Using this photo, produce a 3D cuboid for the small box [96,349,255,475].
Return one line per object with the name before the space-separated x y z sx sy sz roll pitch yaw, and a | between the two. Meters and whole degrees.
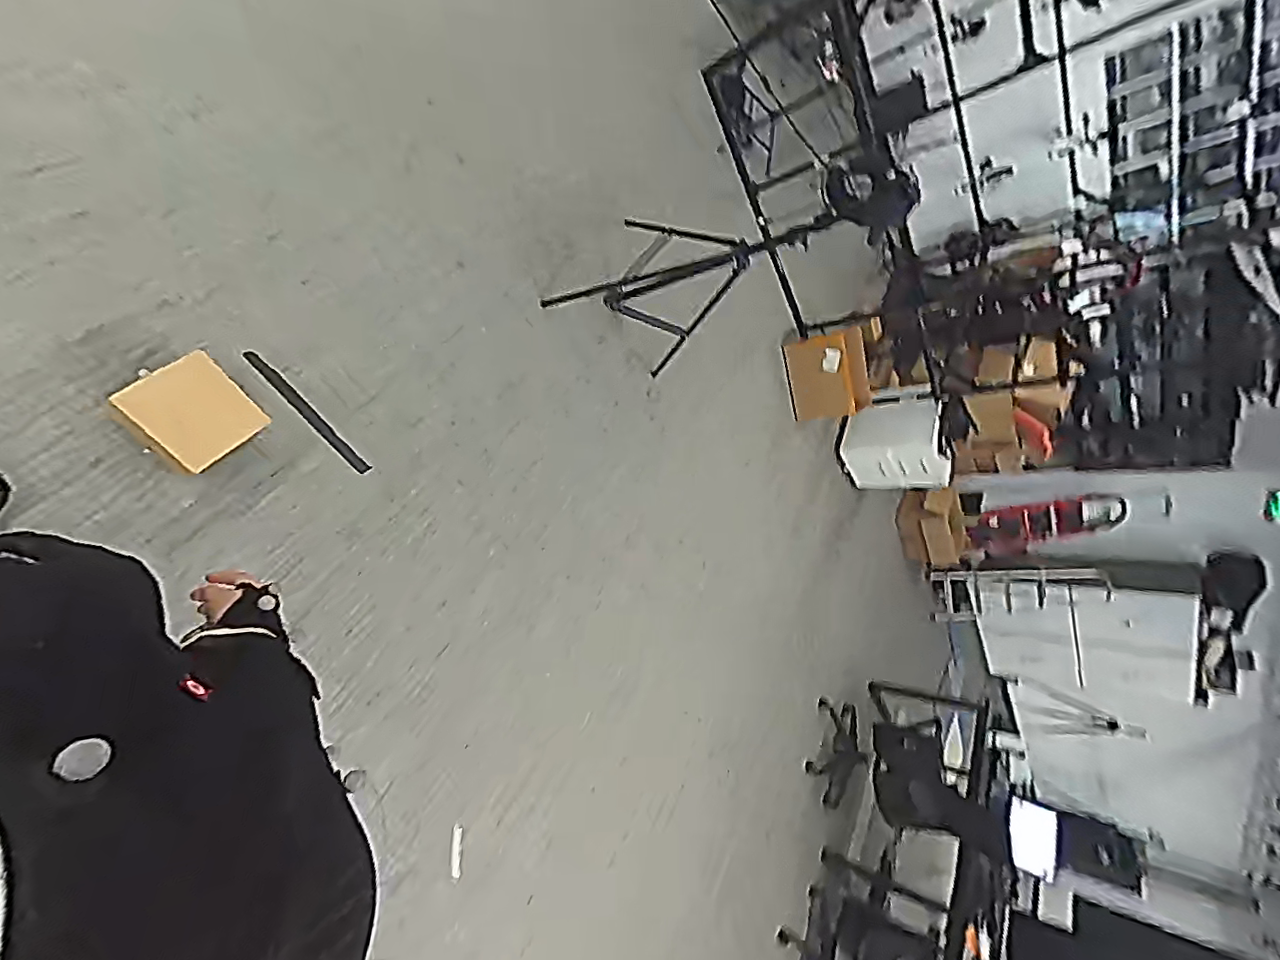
small box | -0.889 -0.127 1.047 0.168 0.176 0.179 -53 126 -35
